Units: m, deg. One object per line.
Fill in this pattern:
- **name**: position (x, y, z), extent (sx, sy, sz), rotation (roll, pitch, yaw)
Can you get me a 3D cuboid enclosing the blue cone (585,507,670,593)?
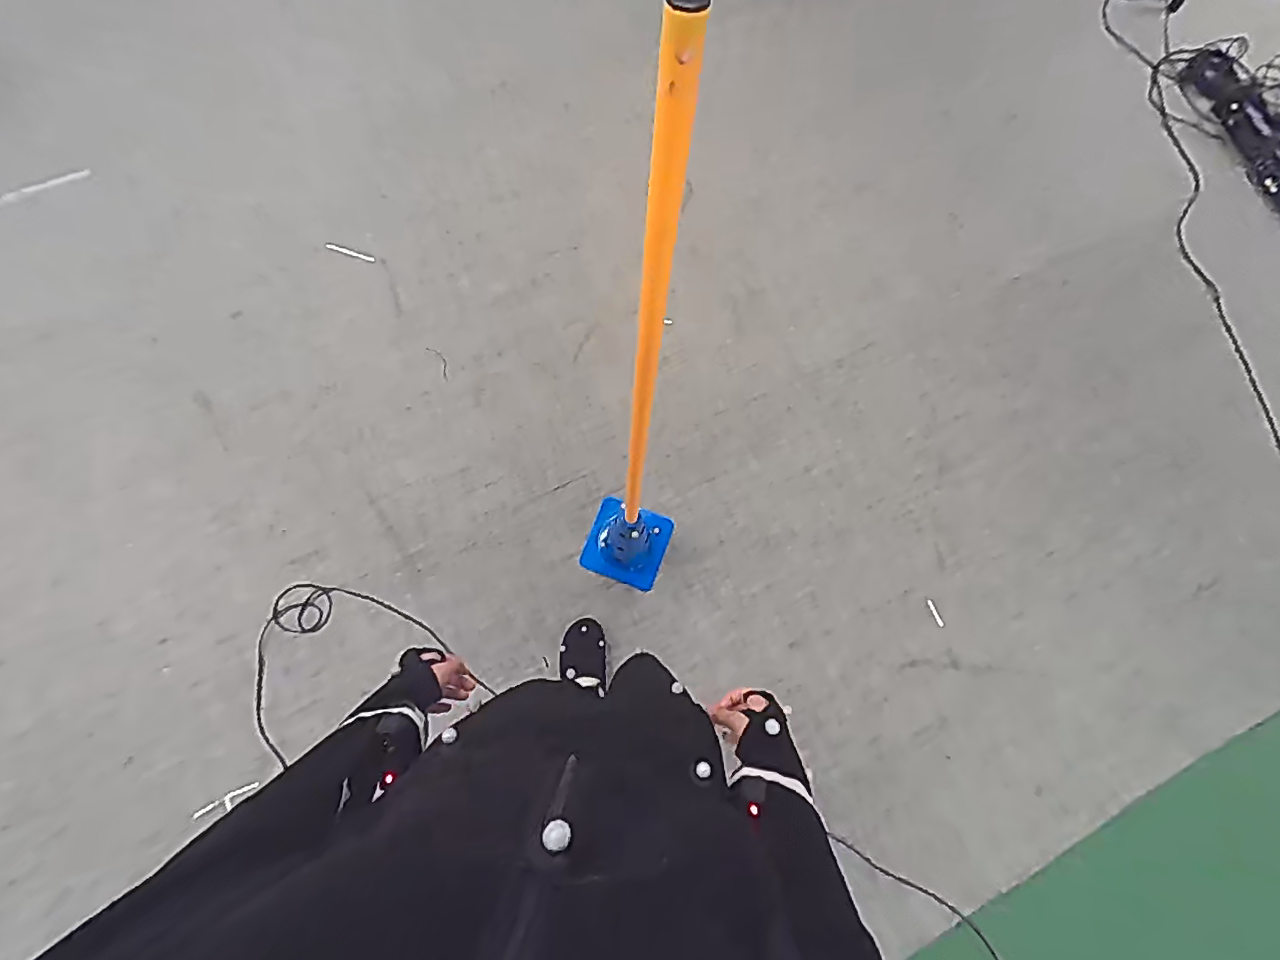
- **blue cone**: position (-0.025, 0.130, 1.201), extent (0.192, 0.380, 0.193), rotation (19, 75, 3)
